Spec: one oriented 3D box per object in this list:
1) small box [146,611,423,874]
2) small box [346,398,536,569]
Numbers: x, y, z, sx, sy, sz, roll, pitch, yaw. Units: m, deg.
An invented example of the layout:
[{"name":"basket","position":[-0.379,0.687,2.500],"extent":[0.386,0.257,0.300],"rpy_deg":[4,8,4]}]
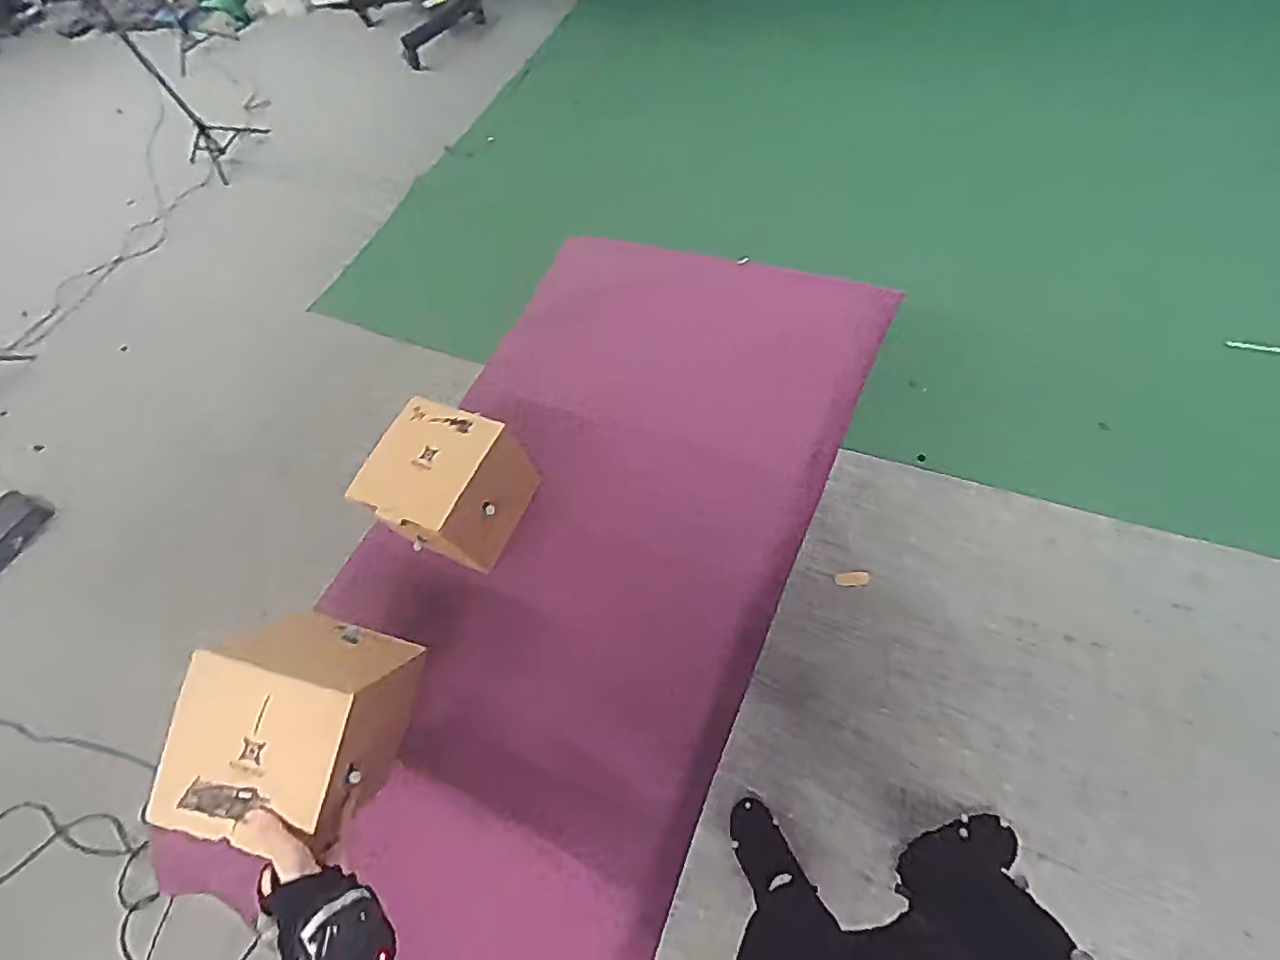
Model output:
[{"name":"small box","position":[-0.362,0.263,0.586],"extent":[0.168,0.176,0.179],"rpy_deg":[16,90,2]},{"name":"small box","position":[-0.278,0.012,0.802],"extent":[0.168,0.176,0.179],"rpy_deg":[18,68,18]}]
